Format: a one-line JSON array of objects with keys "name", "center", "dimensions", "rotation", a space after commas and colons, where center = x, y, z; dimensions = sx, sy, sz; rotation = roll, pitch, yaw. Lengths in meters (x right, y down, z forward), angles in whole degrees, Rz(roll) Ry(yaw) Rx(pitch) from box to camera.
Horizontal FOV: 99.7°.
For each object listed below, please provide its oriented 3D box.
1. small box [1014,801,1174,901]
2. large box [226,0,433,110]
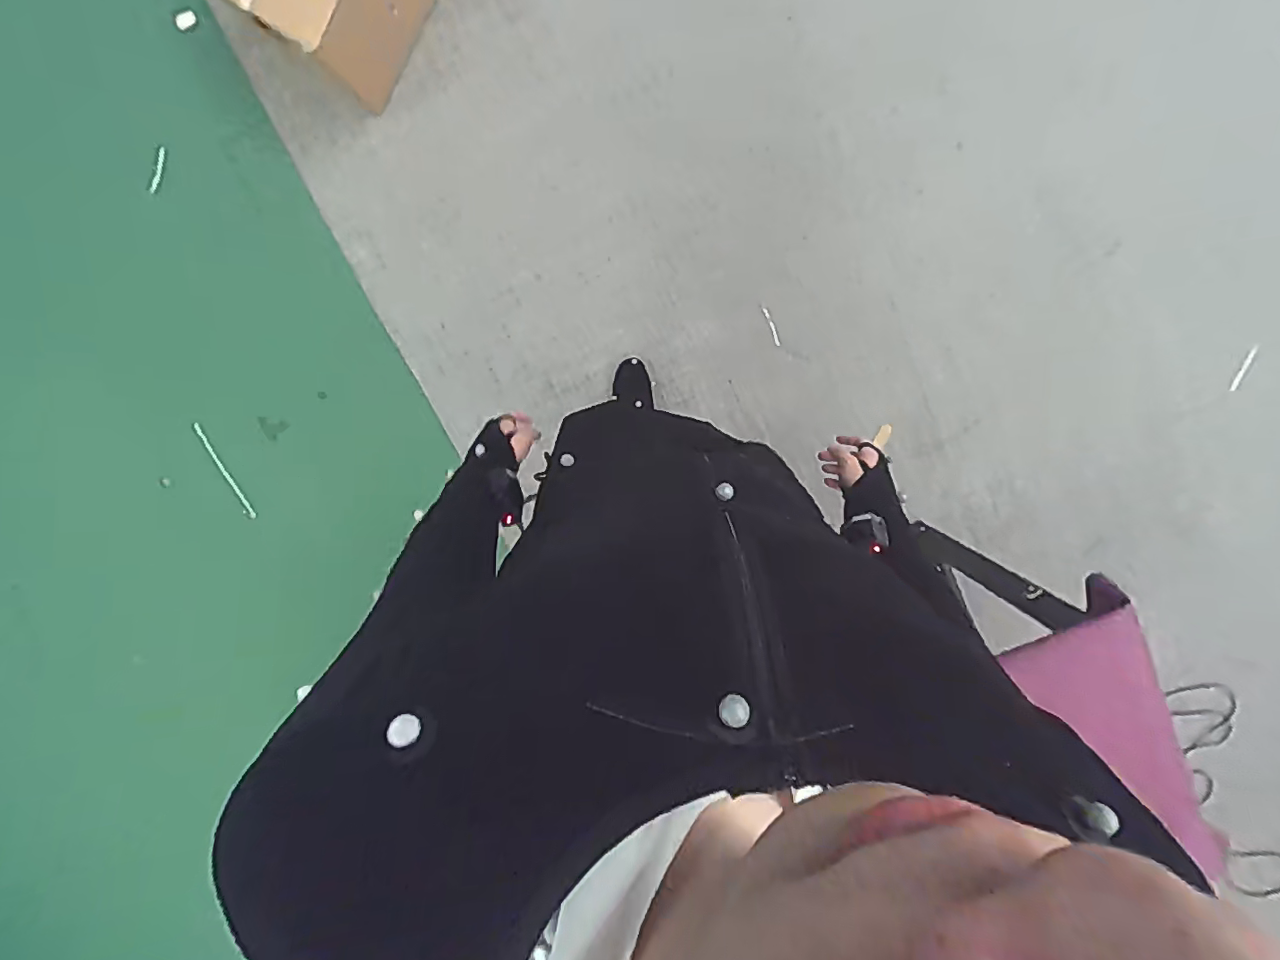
[{"name": "small box", "center": [0.813, 0.718, 0.971], "dimensions": [0.168, 0.176, 0.179], "rotation": [-27, 102, 5]}, {"name": "large box", "center": [-0.699, -1.174, 1.219], "dimensions": [0.320, 0.320, 0.408], "rotation": [31, 101, -6]}]
